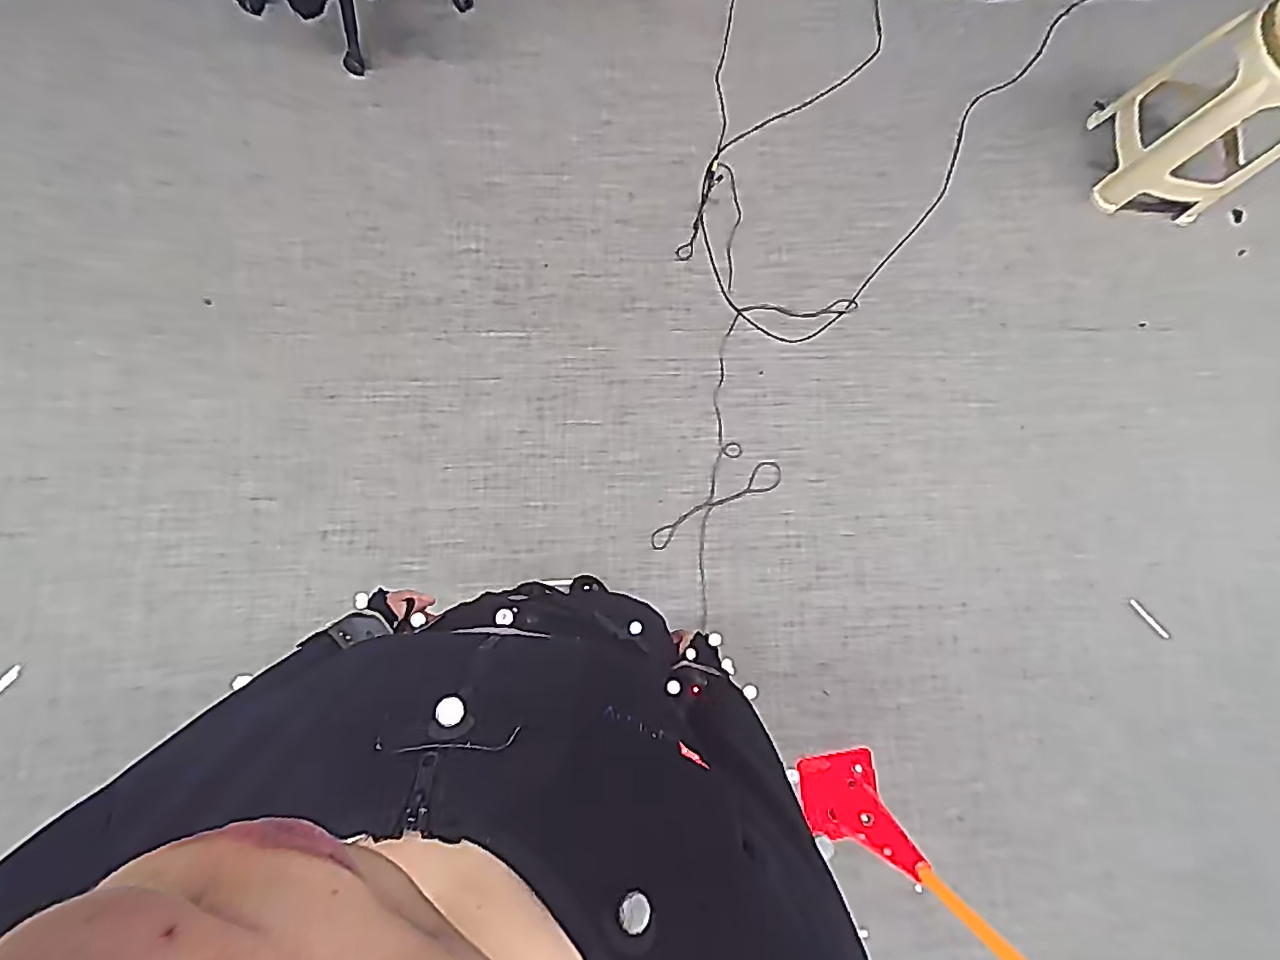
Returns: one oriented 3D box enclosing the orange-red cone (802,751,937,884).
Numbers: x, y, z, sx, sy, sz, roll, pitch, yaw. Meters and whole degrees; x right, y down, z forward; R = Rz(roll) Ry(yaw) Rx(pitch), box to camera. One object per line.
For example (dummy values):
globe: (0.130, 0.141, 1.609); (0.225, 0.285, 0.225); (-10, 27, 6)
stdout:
orange-red cone: (0.516, 0.753, 1.165); (0.199, 0.360, 0.198); (-6, 81, -4)
